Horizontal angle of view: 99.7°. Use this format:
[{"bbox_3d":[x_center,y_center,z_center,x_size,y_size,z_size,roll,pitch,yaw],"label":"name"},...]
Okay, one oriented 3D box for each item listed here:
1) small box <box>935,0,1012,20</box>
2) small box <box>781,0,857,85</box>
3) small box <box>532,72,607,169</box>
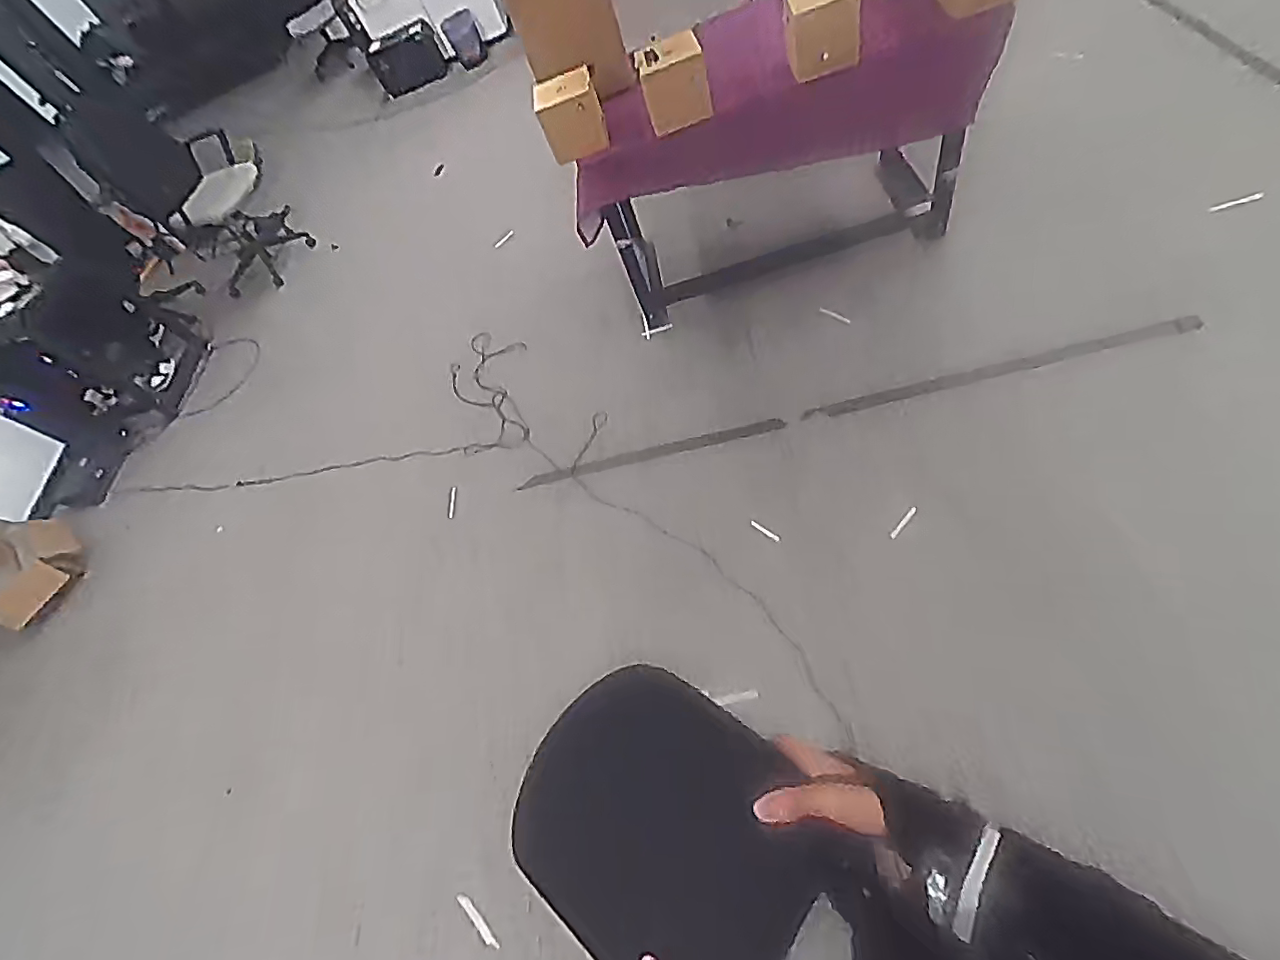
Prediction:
[{"bbox_3d":[0.879,-1.348,1.403,0.168,0.176,0.179,-9,58,16],"label":"small box"},{"bbox_3d":[0.487,-1.234,1.483,0.168,0.176,0.179,-12,58,14],"label":"small box"},{"bbox_3d":[-0.215,-1.094,1.657,0.179,0.176,0.168,-15,57,10],"label":"small box"}]
